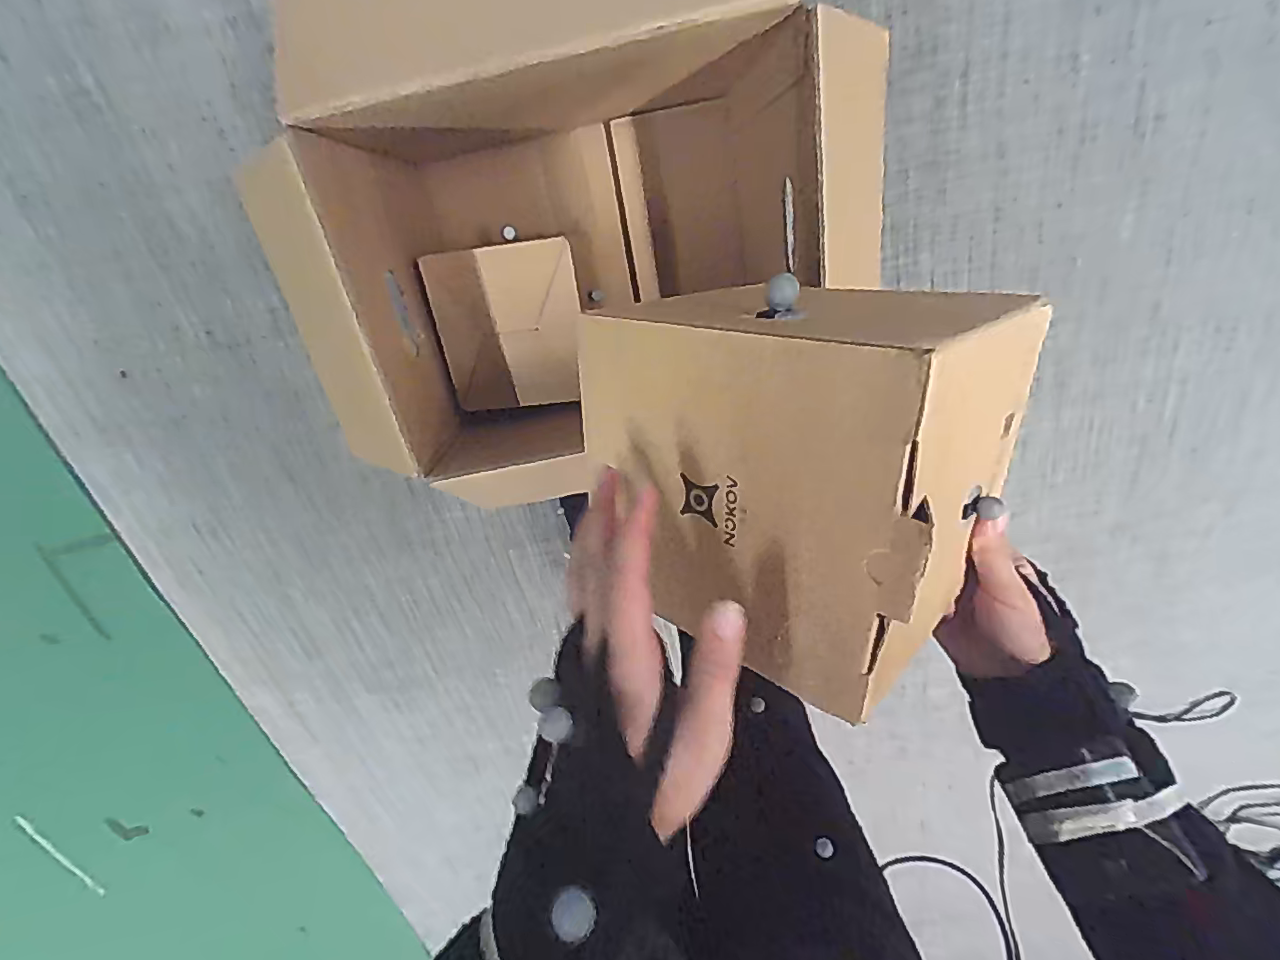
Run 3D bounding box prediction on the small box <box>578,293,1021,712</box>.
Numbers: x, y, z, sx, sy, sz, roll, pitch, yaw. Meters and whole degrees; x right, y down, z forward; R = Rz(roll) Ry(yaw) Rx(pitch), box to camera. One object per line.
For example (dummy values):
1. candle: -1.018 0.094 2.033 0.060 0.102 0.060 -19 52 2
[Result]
1. small box: 0.086 -0.015 0.316 0.179 0.176 0.168 20 121 39
